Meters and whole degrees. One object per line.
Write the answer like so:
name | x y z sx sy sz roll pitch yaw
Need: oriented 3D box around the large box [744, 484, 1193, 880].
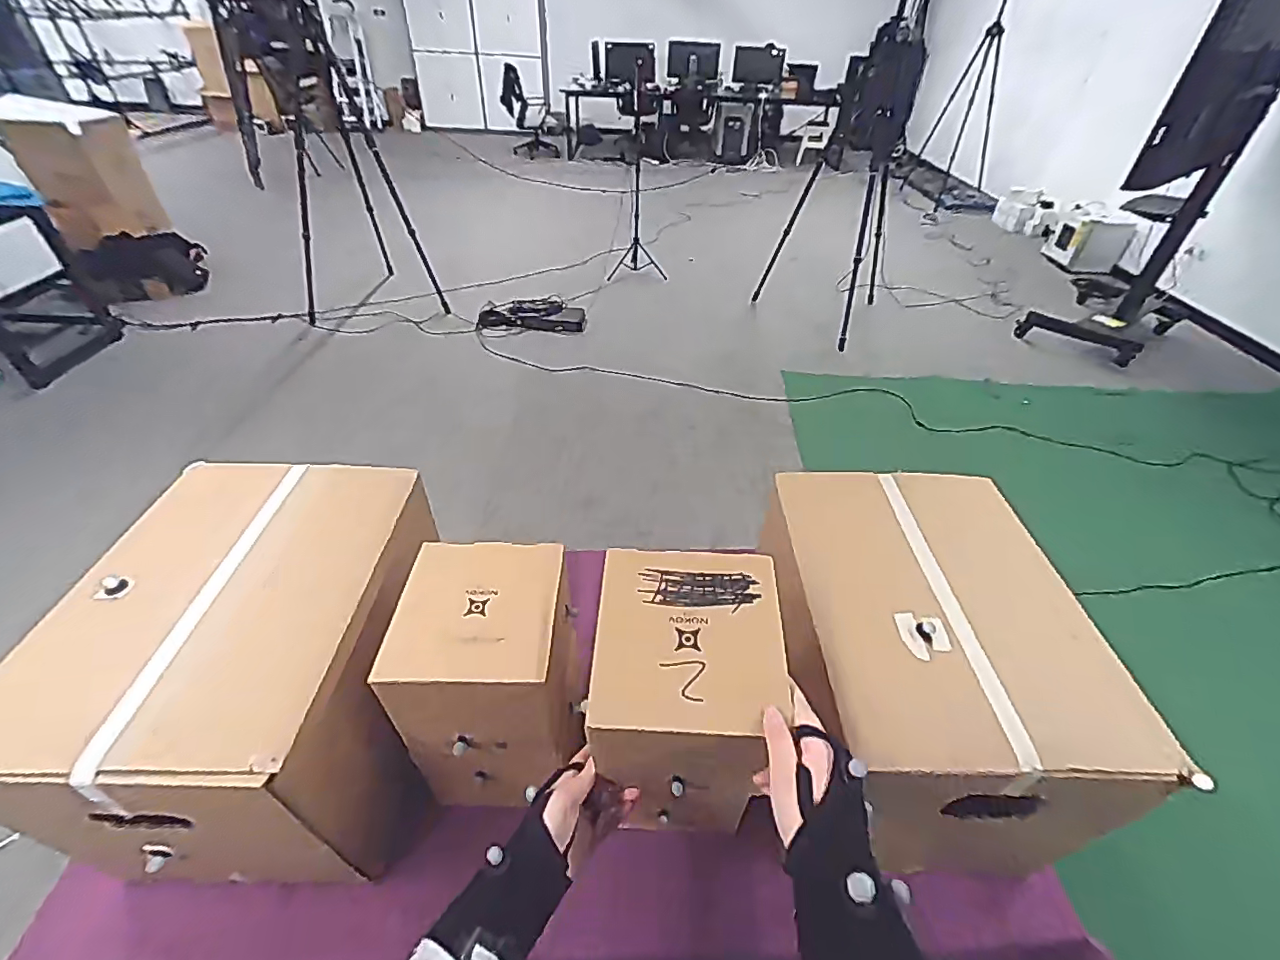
large box | 0.343 0.255 0.730 0.320 0.320 0.408 2 41 0
